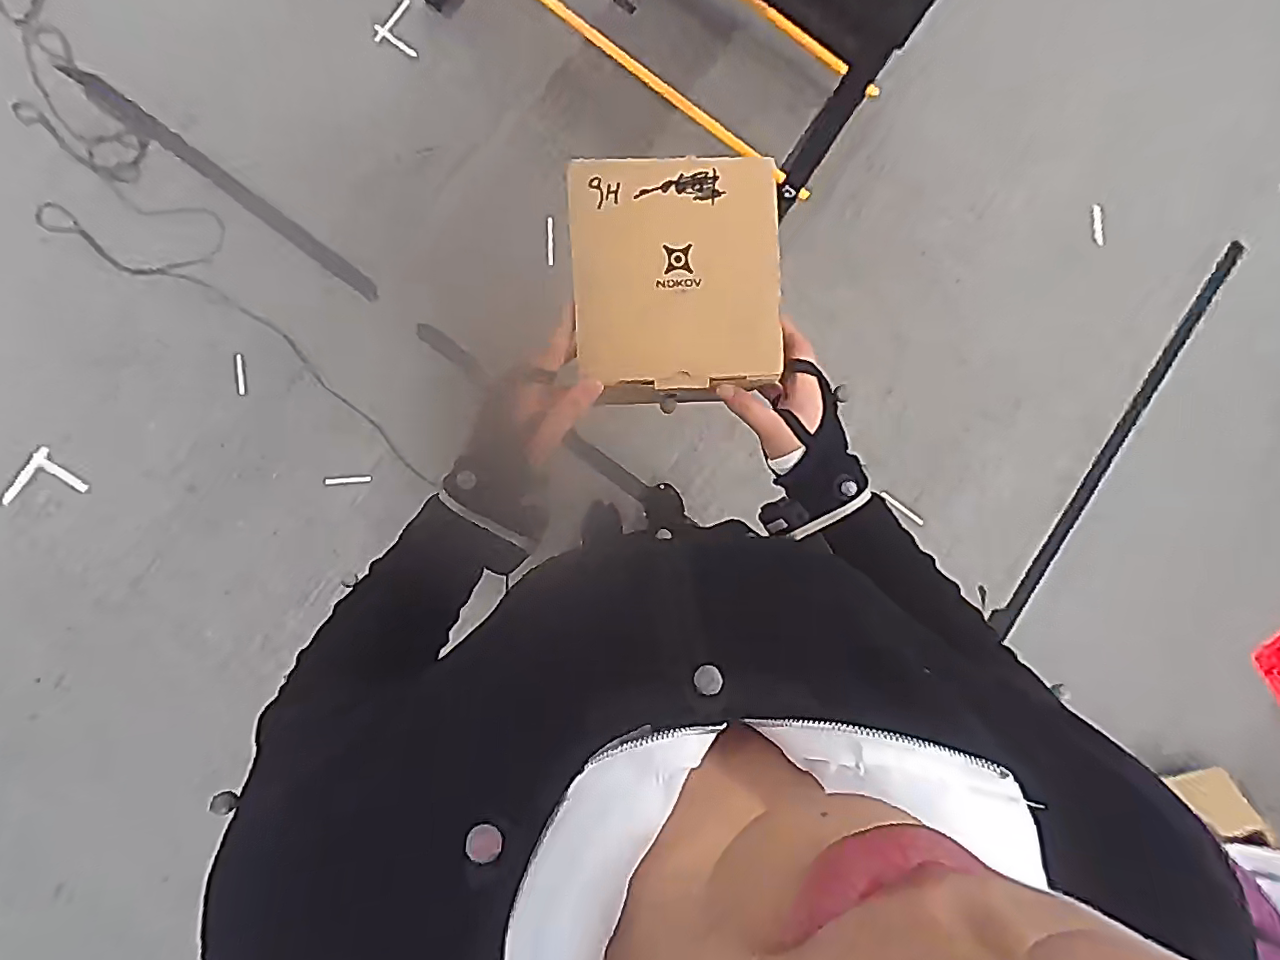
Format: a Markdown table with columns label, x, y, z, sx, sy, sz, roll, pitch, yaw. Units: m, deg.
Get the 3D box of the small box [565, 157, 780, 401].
| label | x | y | z | sx | sy | sz | roll | pitch | yaw |
| --- | --- | --- | --- | --- | --- | --- | --- | --- | --- |
| small box | 0.024 | -0.166 | 0.501 | 0.168 | 0.176 | 0.179 | -4 | 94 | -3 |
